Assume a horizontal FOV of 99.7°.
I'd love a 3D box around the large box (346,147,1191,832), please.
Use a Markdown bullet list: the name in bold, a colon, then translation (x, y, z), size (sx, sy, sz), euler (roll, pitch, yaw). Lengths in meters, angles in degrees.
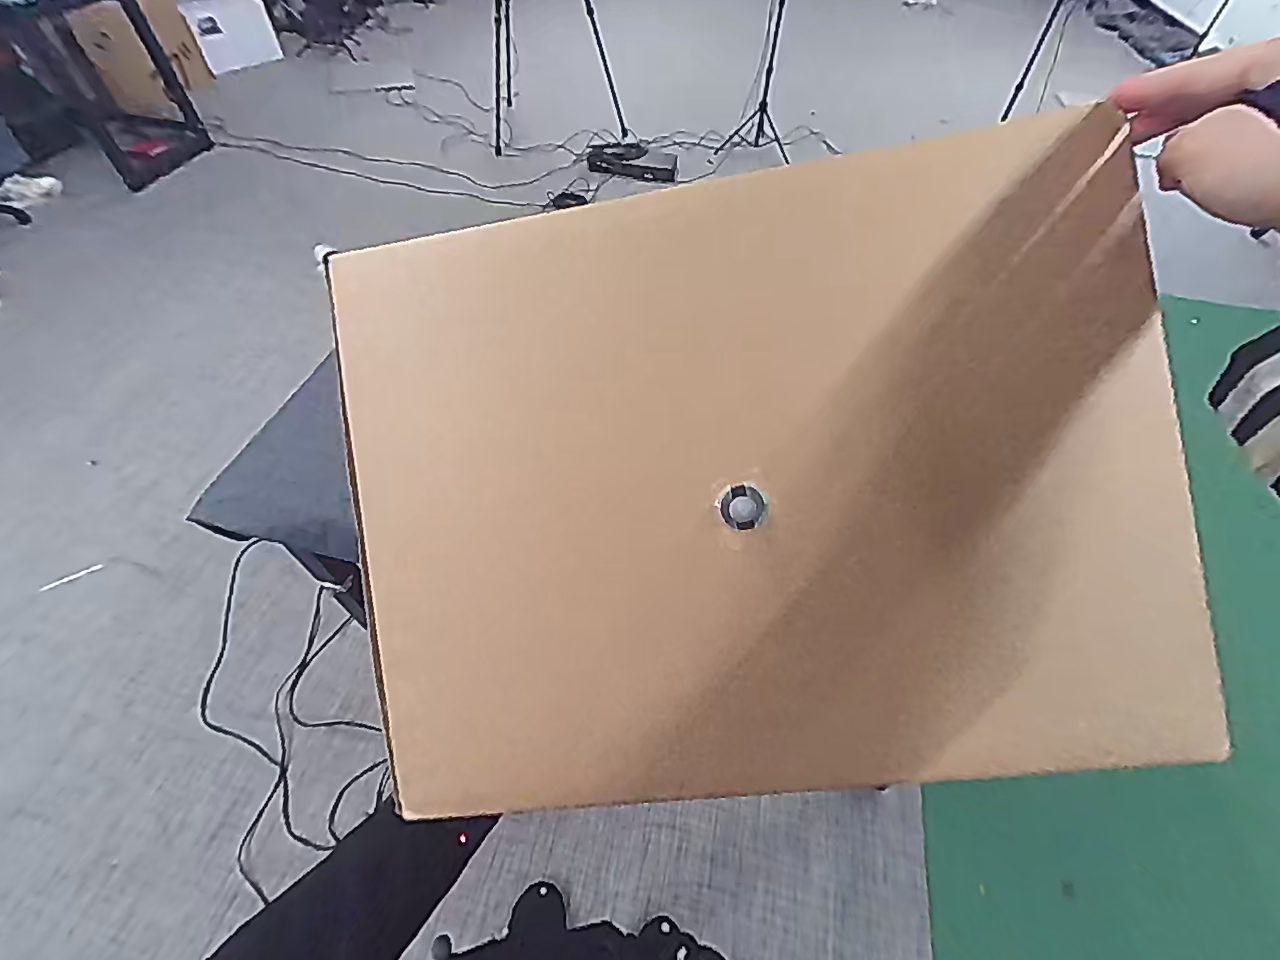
- **large box**: translation (0.070, 0.014, 0.429), size (0.408, 0.320, 0.320), euler (-10, 88, 5)
